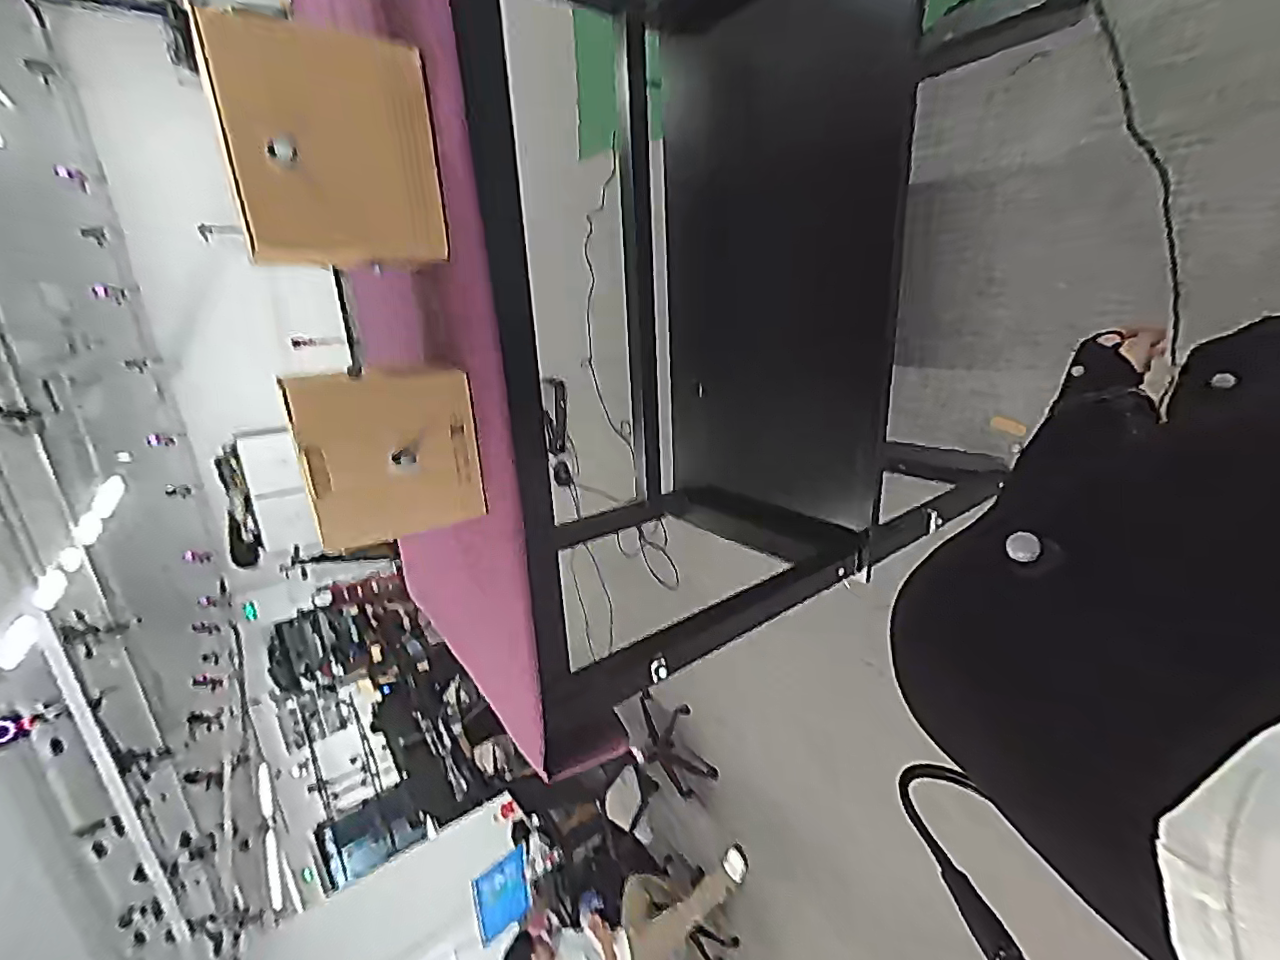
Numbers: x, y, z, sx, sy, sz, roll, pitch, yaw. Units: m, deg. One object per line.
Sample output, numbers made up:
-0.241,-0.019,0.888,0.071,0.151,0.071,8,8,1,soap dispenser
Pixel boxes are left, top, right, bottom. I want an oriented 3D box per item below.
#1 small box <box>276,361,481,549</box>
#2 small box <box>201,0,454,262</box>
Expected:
-0.288,-0.043,0.612,0.179,0.176,0.168,19,117,51,small box
-0.299,-0.313,0.529,0.168,0.176,0.179,22,121,51,small box
